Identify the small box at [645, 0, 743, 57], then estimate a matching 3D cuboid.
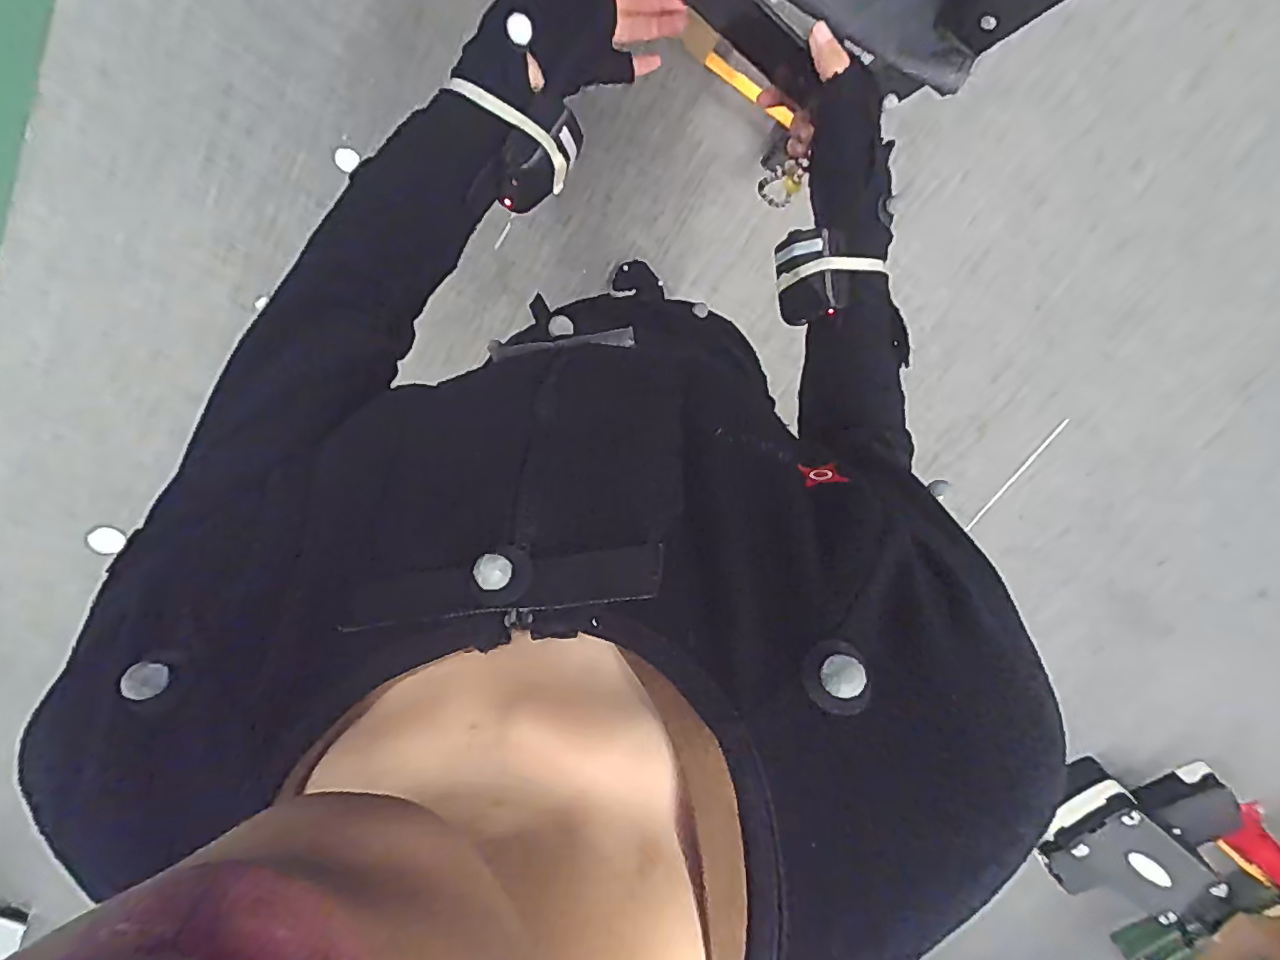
[{"bbox_3d":[0.113,-0.917,0.968,0.168,0.176,0.179,33,108,-13],"label":"small box"}]
